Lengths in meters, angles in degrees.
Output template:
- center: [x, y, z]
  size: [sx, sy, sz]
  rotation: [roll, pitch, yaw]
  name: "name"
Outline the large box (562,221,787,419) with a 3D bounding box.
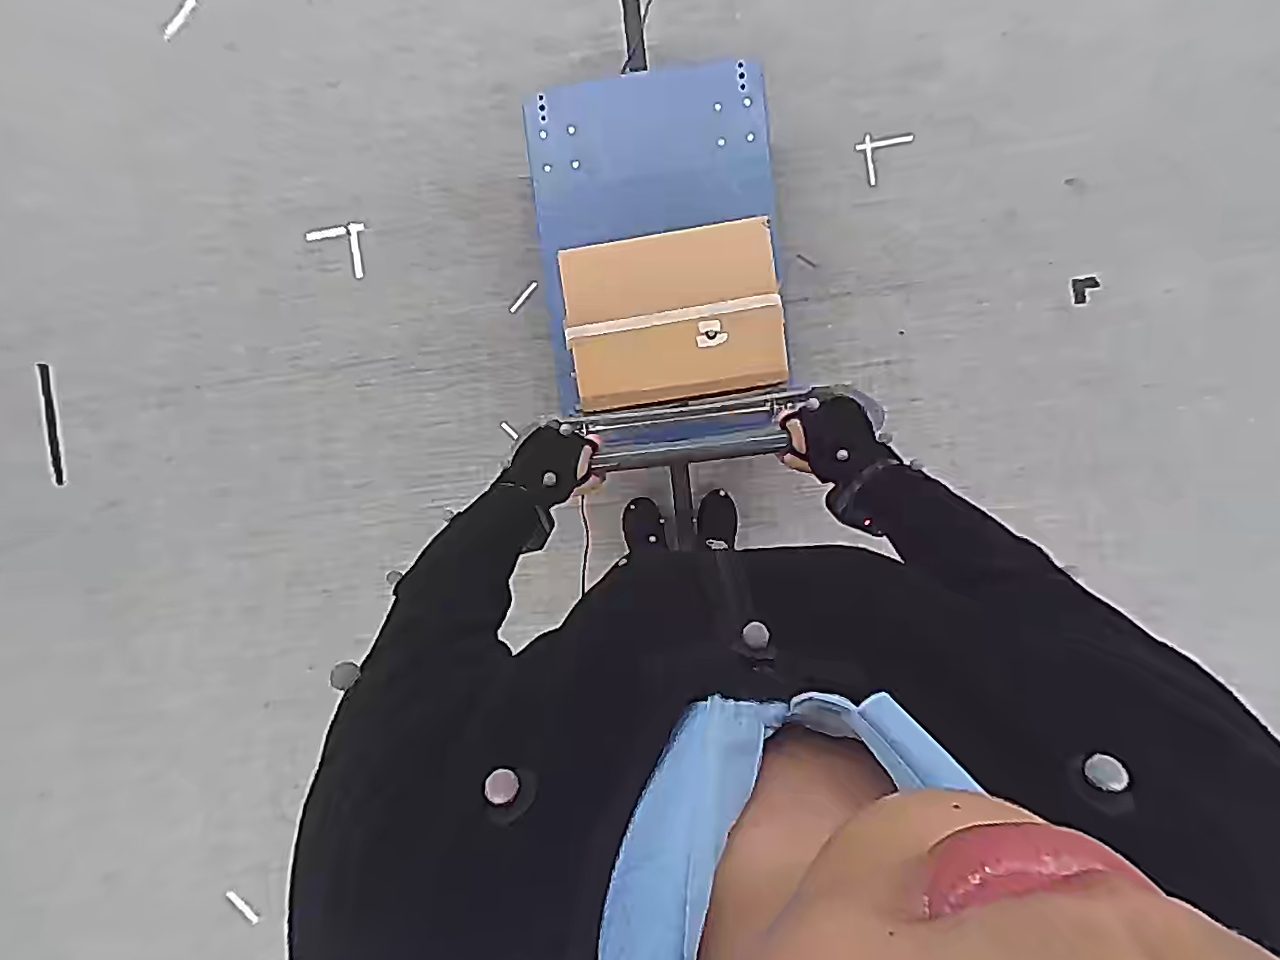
- center: [0.071, -0.322, 1.194]
  size: [0.408, 0.320, 0.320]
  rotation: [-9, 95, 3]
  name: "large box"
